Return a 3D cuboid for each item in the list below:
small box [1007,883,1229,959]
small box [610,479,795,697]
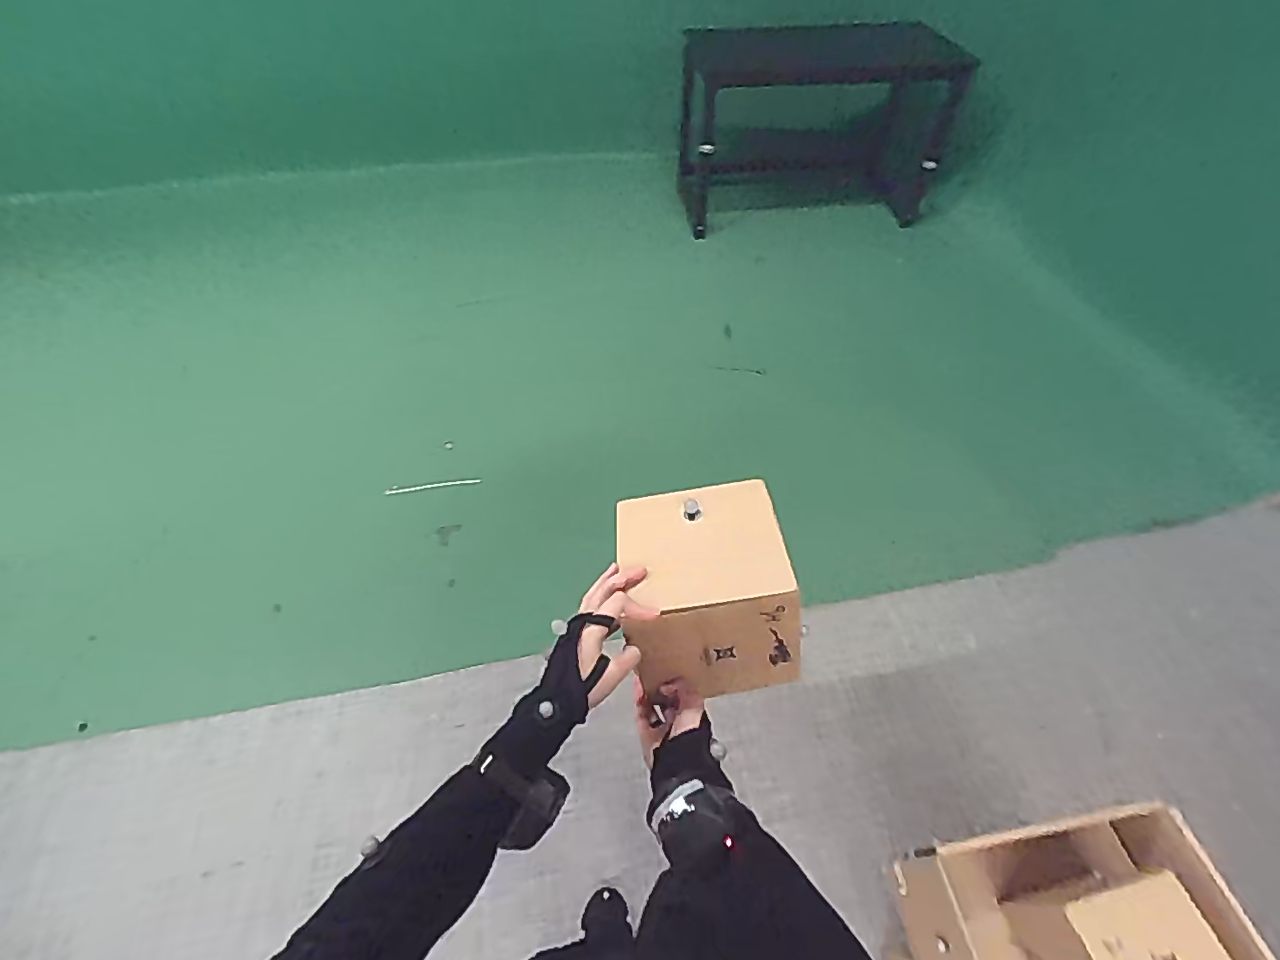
[{"bbox_3d":[0.660,0.667,0.736,0.179,0.176,0.168,-10,53,-7],"label":"small box"},{"bbox_3d":[0.070,0.120,0.616,0.179,0.168,0.176,-10,40,6],"label":"small box"}]
